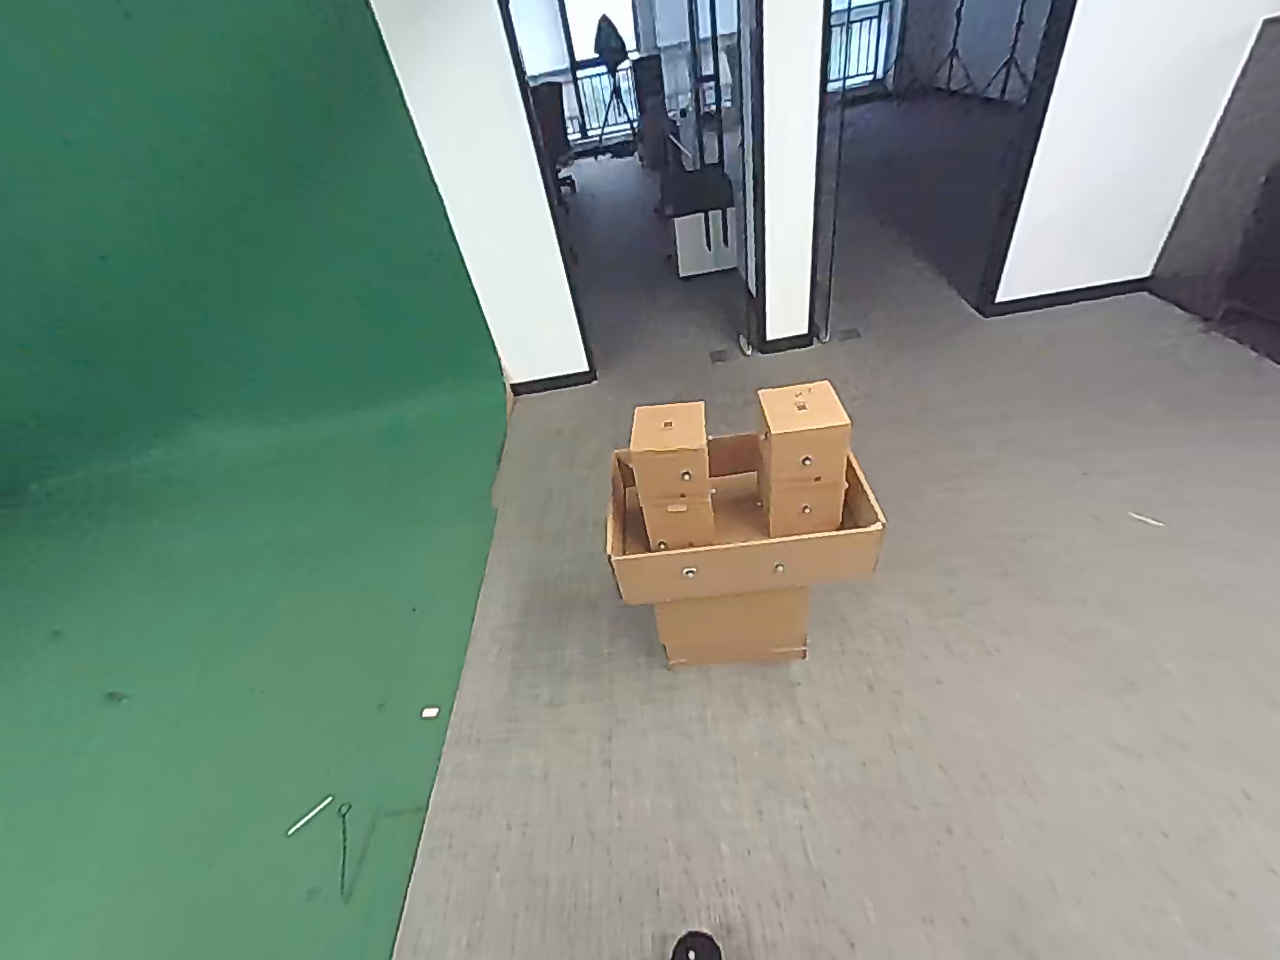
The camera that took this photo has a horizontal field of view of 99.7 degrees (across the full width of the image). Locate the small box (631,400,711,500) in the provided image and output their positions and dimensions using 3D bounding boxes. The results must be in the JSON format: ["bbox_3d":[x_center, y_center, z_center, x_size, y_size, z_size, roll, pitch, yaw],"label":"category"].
[{"bbox_3d":[0.079,-0.065,1.270,0.168,0.176,0.179,-3,40,9],"label":"small box"}]

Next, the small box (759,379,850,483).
[{"bbox_3d":[0.370,-0.107,1.241,0.168,0.176,0.179,-7,41,6],"label":"small box"}]
